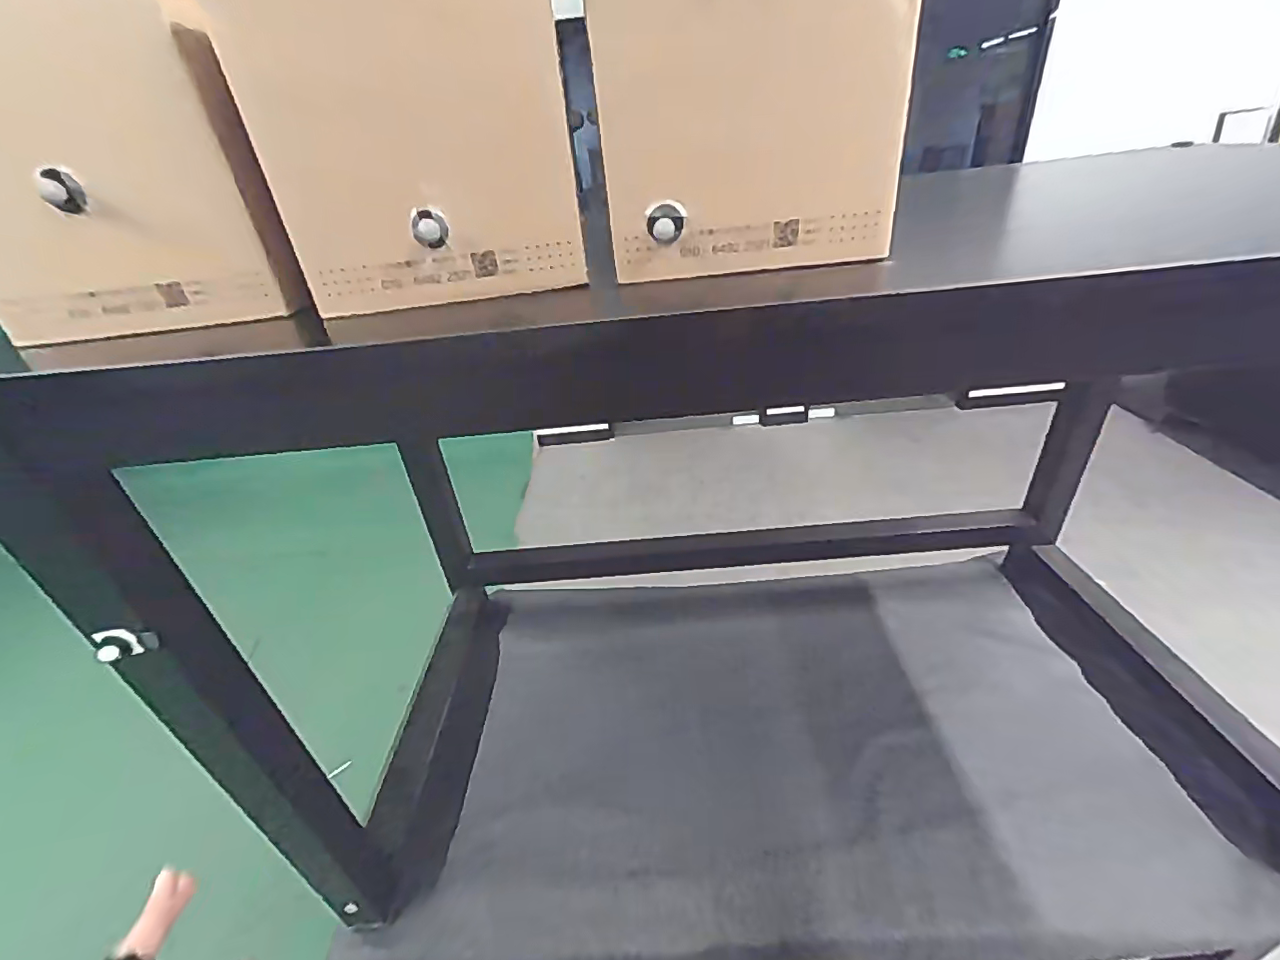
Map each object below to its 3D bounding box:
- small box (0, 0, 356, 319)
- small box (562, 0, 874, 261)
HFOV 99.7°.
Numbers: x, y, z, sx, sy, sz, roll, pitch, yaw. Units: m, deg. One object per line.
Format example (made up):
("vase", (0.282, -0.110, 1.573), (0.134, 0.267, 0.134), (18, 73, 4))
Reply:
("small box", (-0.330, -0.216, 0.381), (0.168, 0.176, 0.179), (-7, 30, -4))
("small box", (0.051, -0.252, 0.370), (0.168, 0.176, 0.179), (-3, 30, 5))
